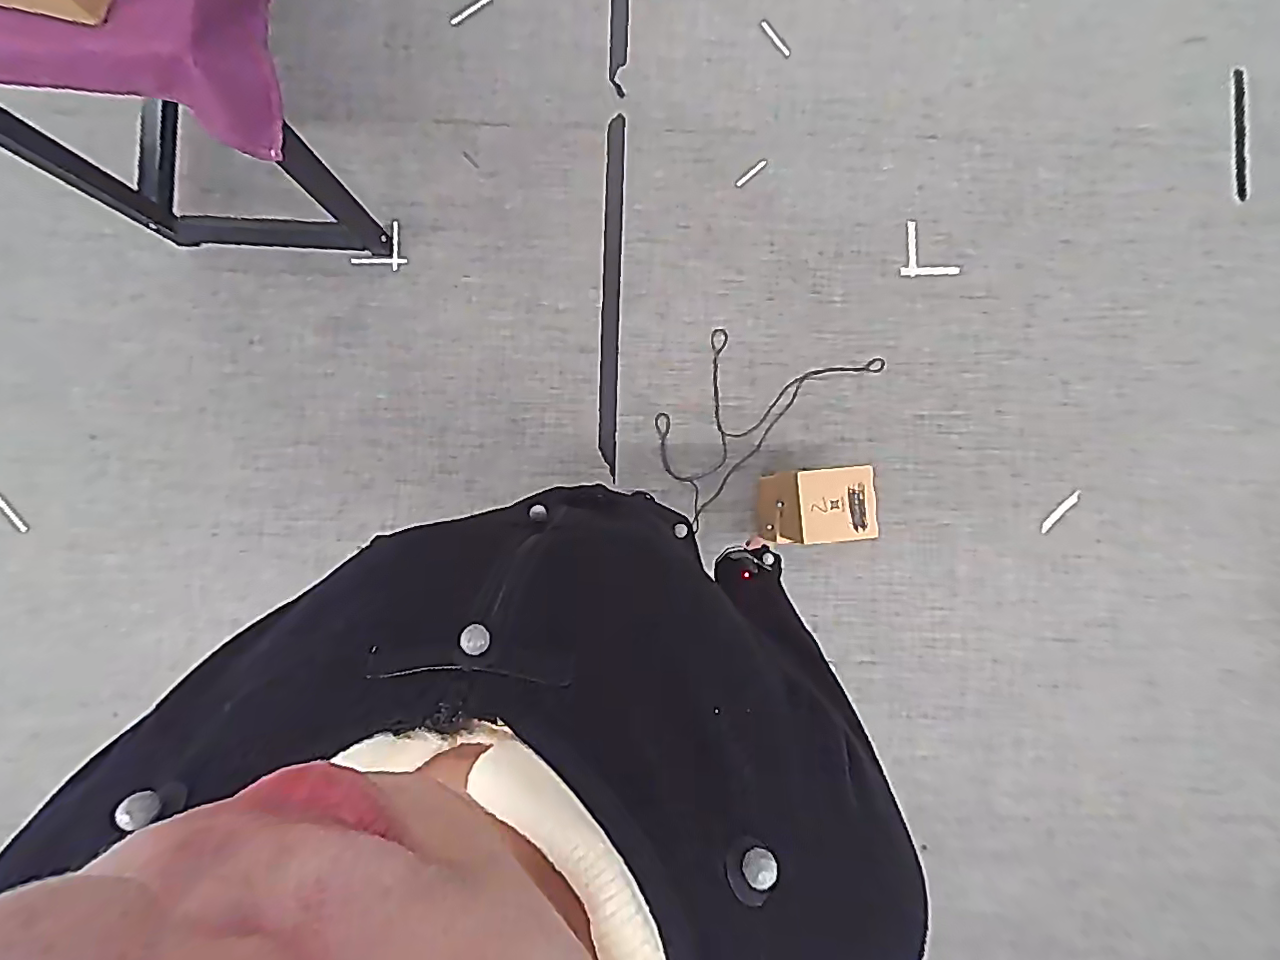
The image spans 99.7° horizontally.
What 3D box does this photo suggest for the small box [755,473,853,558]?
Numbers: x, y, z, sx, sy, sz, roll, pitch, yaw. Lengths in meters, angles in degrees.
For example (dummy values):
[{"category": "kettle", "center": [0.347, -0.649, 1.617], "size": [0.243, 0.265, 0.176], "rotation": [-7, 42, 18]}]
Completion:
[{"category": "small box", "center": [0.422, 0.089, 1.407], "size": [0.179, 0.176, 0.168], "rotation": [-7, 109, -20]}]
